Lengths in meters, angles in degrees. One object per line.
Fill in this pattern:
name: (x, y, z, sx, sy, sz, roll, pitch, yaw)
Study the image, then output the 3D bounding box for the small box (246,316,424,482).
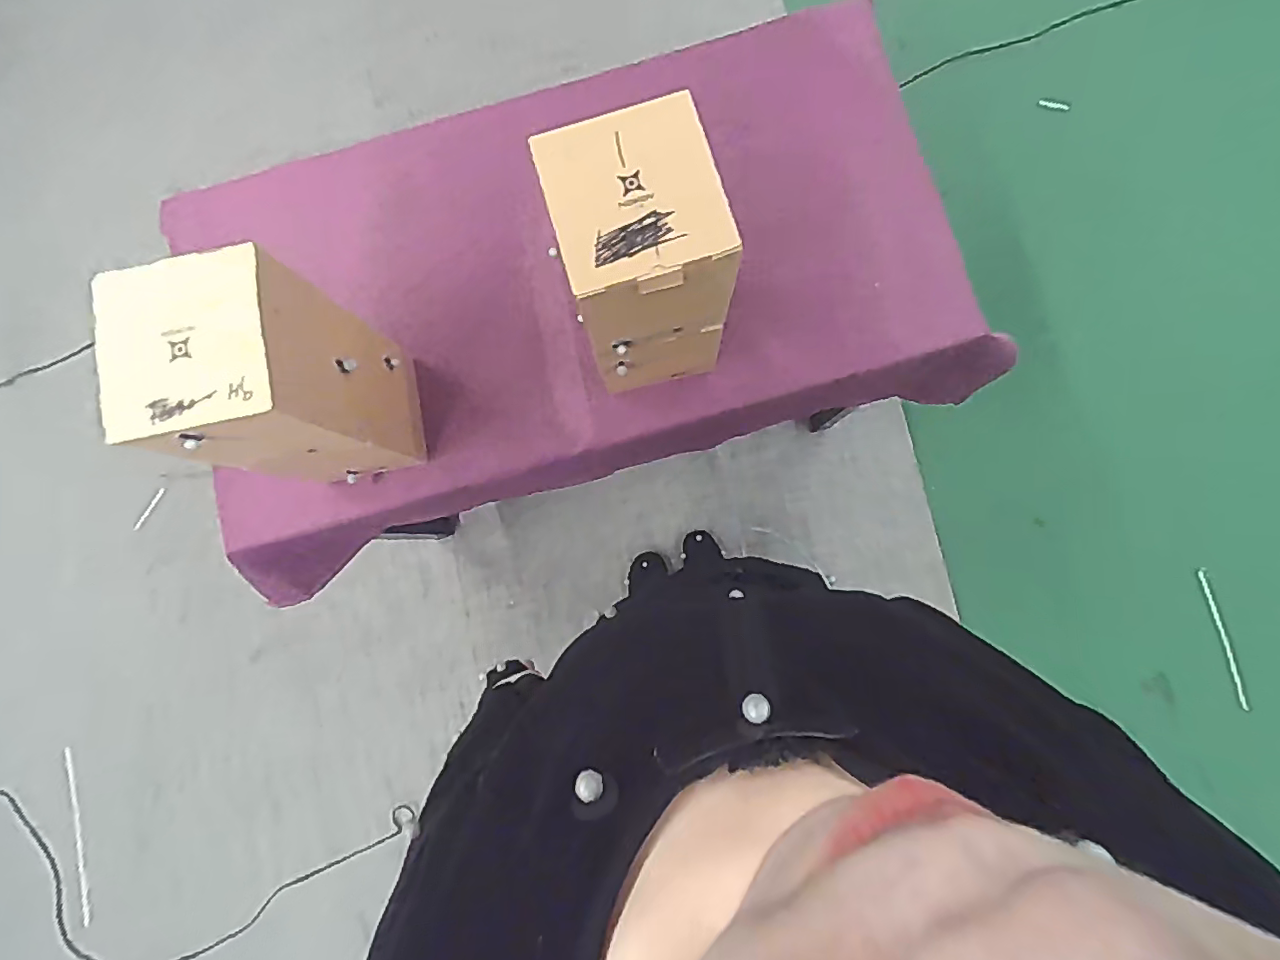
small box: (-0.427, -0.104, 0.763, 0.168, 0.176, 0.179, -11, 83, 2)

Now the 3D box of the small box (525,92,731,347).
small box: (-0.008, -0.264, 0.595, 0.168, 0.176, 0.179, -17, 81, 1)

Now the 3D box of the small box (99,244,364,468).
small box: (-0.435, -0.123, 0.599, 0.168, 0.176, 0.179, -11, 82, 3)
